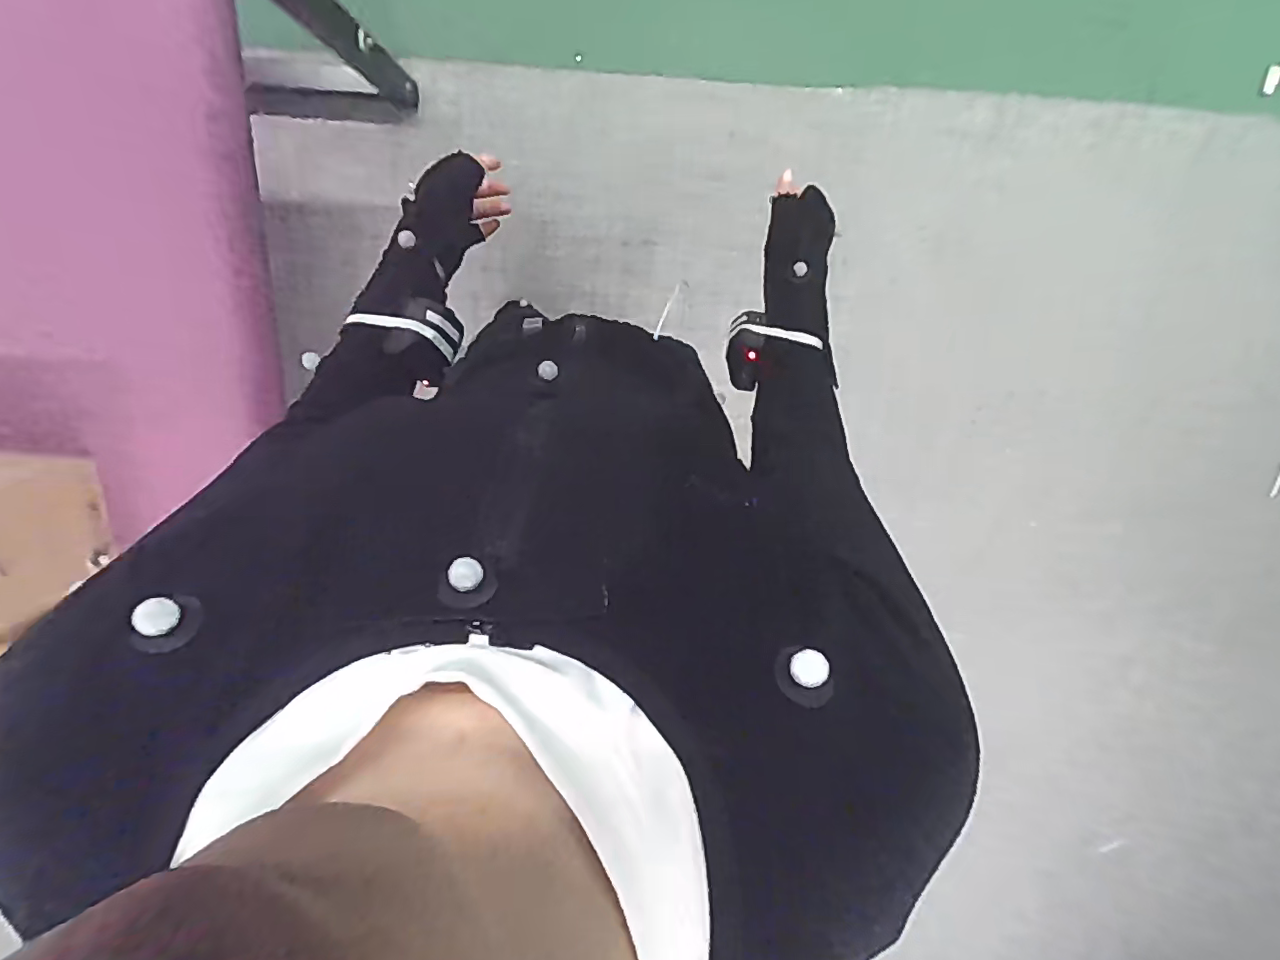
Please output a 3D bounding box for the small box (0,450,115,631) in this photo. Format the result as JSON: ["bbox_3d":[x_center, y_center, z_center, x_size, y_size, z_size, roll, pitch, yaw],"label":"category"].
[{"bbox_3d":[-0.802,0.065,0.661,0.179,0.176,0.168,5,107,-2],"label":"small box"}]
